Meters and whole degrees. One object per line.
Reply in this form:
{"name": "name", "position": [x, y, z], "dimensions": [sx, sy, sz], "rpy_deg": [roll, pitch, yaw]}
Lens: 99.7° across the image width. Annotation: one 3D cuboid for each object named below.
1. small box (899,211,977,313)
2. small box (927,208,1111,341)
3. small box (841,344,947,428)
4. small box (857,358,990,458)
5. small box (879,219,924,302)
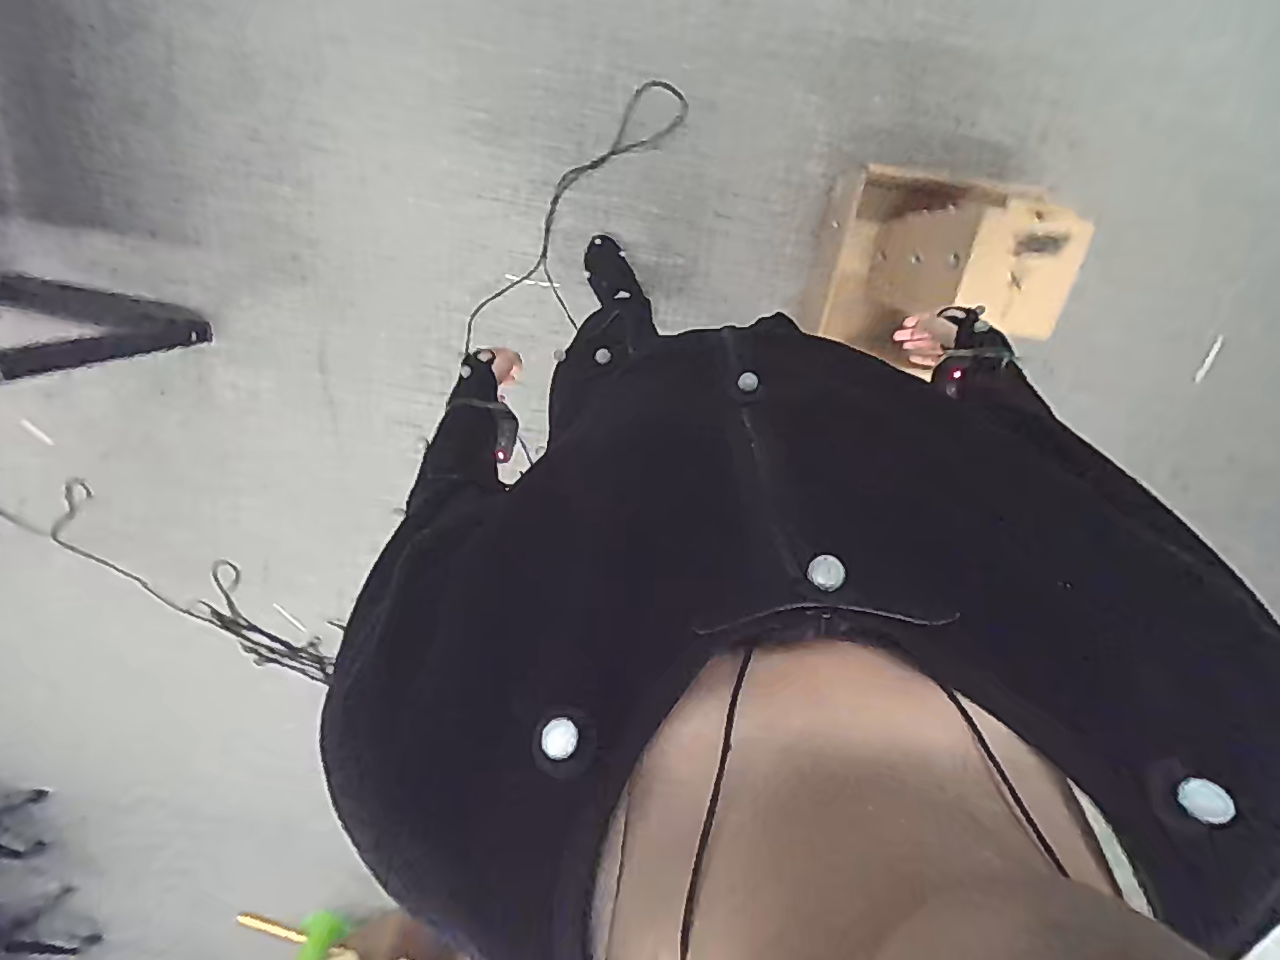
{"name": "small box", "position": [0.627, -0.411, 1.045], "dimensions": [0.168, 0.176, 0.179], "rpy_deg": [8, 114, 3]}
{"name": "small box", "position": [0.607, -0.342, 0.898], "dimensions": [0.168, 0.176, 0.179], "rpy_deg": [8, 115, 3]}
{"name": "small box", "position": [0.602, -0.220, 1.308], "dimensions": [0.168, 0.176, 0.179], "rpy_deg": [8, 112, 2]}
{"name": "small box", "position": [0.592, -0.160, 1.156], "dimensions": [0.179, 0.176, 0.168], "rpy_deg": [7, 112, 1]}
{"name": "small box", "position": [0.653, -0.474, 1.193], "dimensions": [0.179, 0.176, 0.168], "rpy_deg": [7, 115, 2]}
